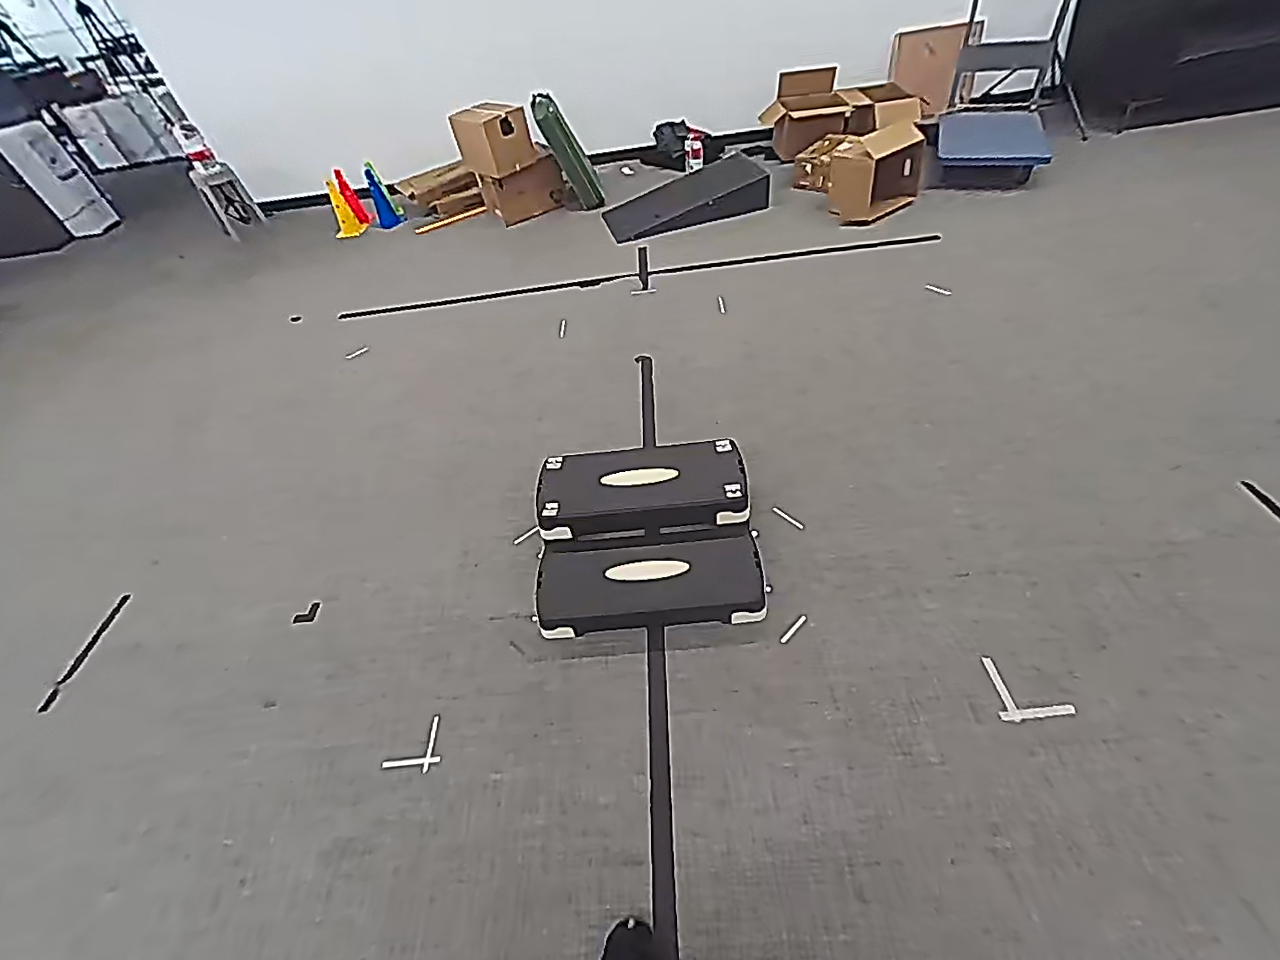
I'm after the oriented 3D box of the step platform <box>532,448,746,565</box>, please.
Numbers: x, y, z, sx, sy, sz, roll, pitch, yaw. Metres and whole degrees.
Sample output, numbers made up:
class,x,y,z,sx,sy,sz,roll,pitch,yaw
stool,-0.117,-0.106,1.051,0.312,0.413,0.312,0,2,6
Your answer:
class,x,y,z,sx,sy,sz,roll,pitch,yaw
step platform,-0.004,0.082,1.764,0.684,0.204,0.286,-6,48,3
